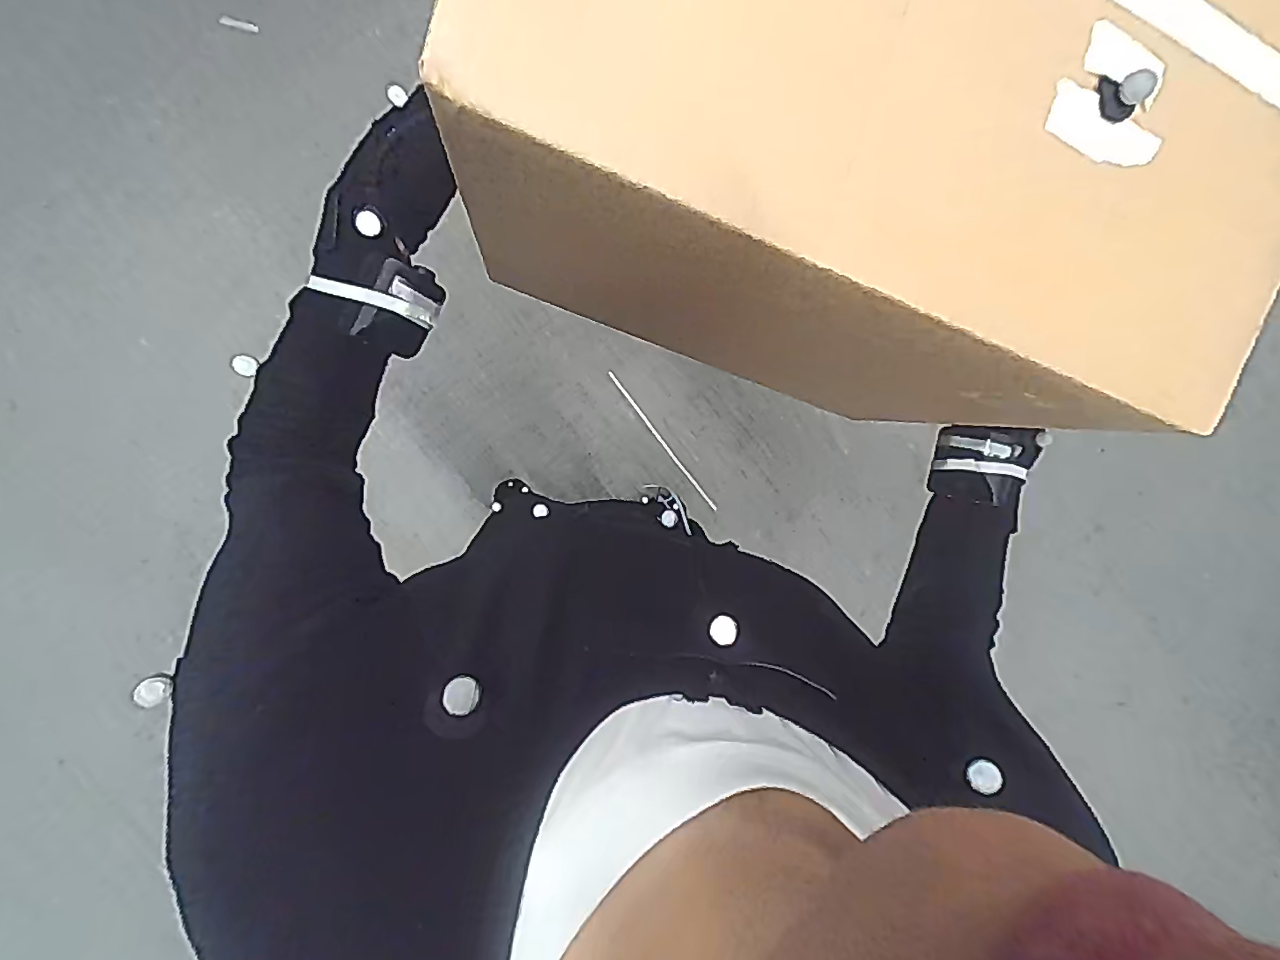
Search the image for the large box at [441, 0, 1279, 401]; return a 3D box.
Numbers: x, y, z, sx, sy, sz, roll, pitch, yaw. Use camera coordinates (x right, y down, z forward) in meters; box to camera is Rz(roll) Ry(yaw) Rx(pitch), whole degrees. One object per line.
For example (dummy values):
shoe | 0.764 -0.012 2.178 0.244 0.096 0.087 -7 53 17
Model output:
large box | 0.121 -0.261 0.374 0.408 0.320 0.320 17 95 -14
